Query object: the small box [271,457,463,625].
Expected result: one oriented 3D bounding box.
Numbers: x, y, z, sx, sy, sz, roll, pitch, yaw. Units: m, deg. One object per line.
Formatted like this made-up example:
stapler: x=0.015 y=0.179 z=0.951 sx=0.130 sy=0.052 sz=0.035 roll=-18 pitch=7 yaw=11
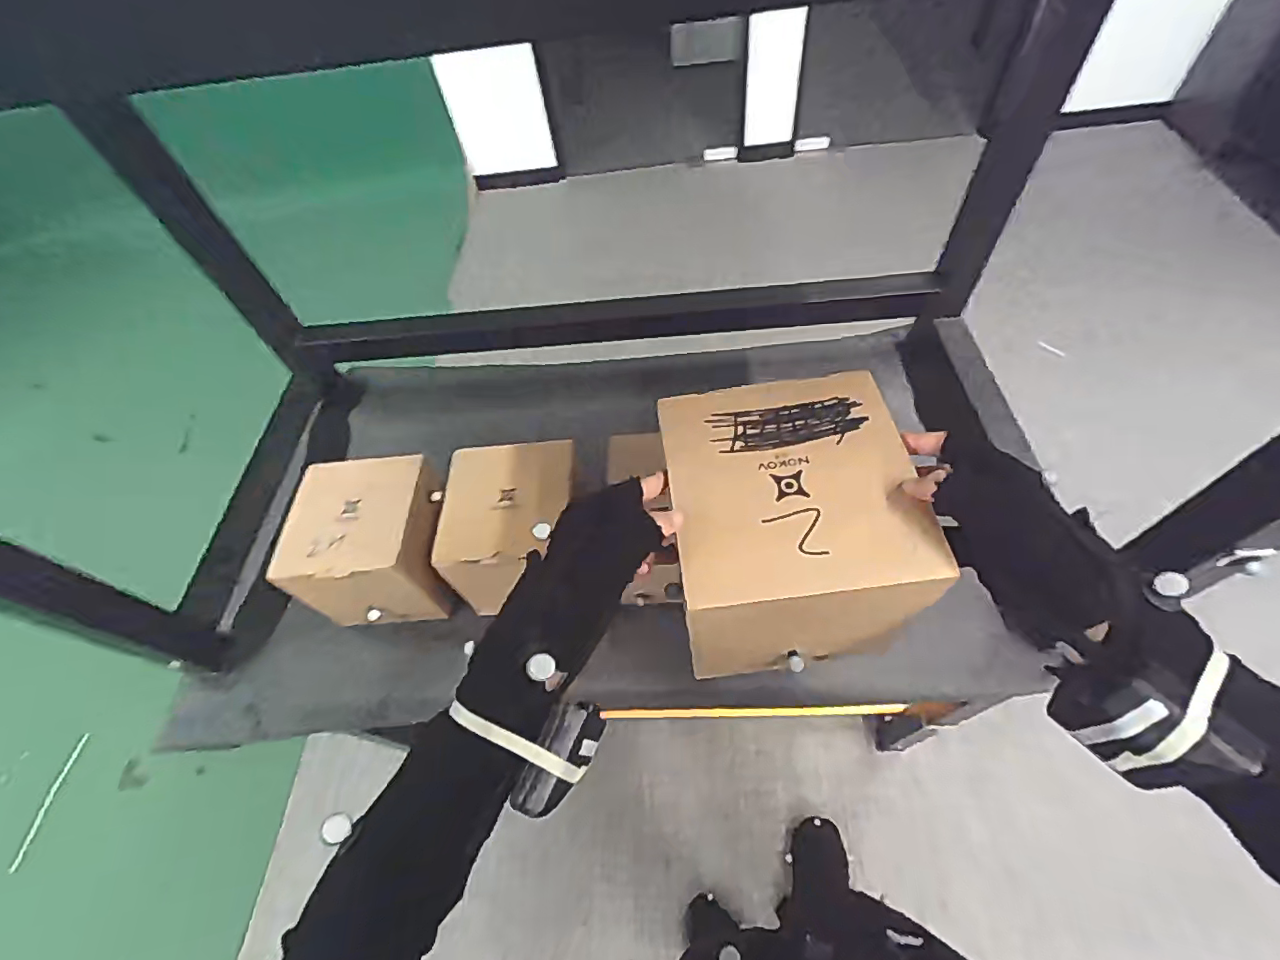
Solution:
small box: x=-0.366 y=0.090 z=0.768 sx=0.168 sy=0.176 sz=0.179 roll=-5 pitch=55 yaw=4
